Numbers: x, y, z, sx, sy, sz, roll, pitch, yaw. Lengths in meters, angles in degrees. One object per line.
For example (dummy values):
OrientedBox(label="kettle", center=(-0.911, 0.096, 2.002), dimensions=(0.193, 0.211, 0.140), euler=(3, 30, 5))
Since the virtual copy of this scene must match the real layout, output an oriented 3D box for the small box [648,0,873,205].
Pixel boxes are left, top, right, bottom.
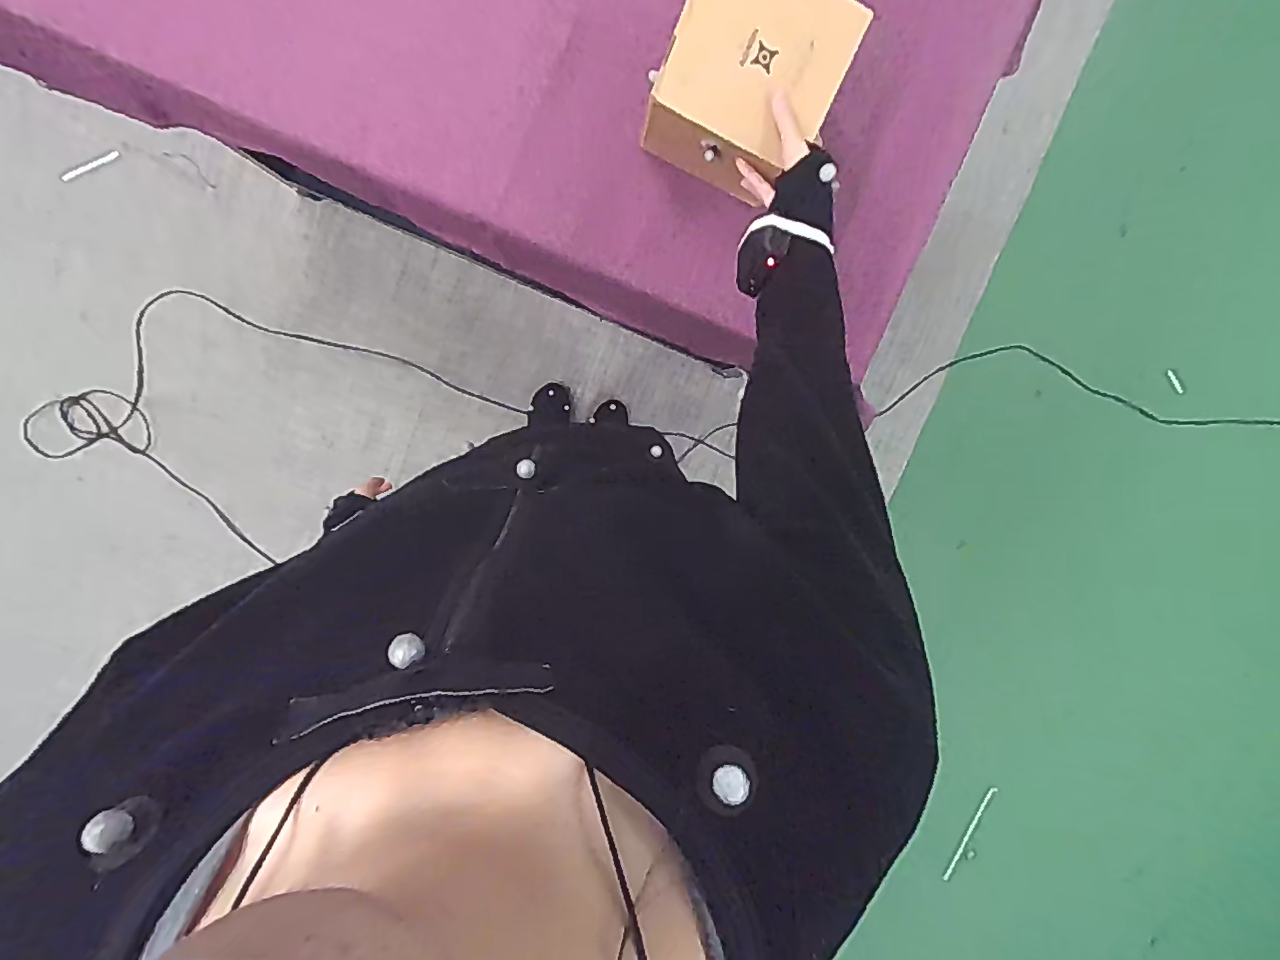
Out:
OrientedBox(label="small box", center=(0.120, -0.448, 0.627), dimensions=(0.179, 0.176, 0.168), euler=(24, 103, -10))
